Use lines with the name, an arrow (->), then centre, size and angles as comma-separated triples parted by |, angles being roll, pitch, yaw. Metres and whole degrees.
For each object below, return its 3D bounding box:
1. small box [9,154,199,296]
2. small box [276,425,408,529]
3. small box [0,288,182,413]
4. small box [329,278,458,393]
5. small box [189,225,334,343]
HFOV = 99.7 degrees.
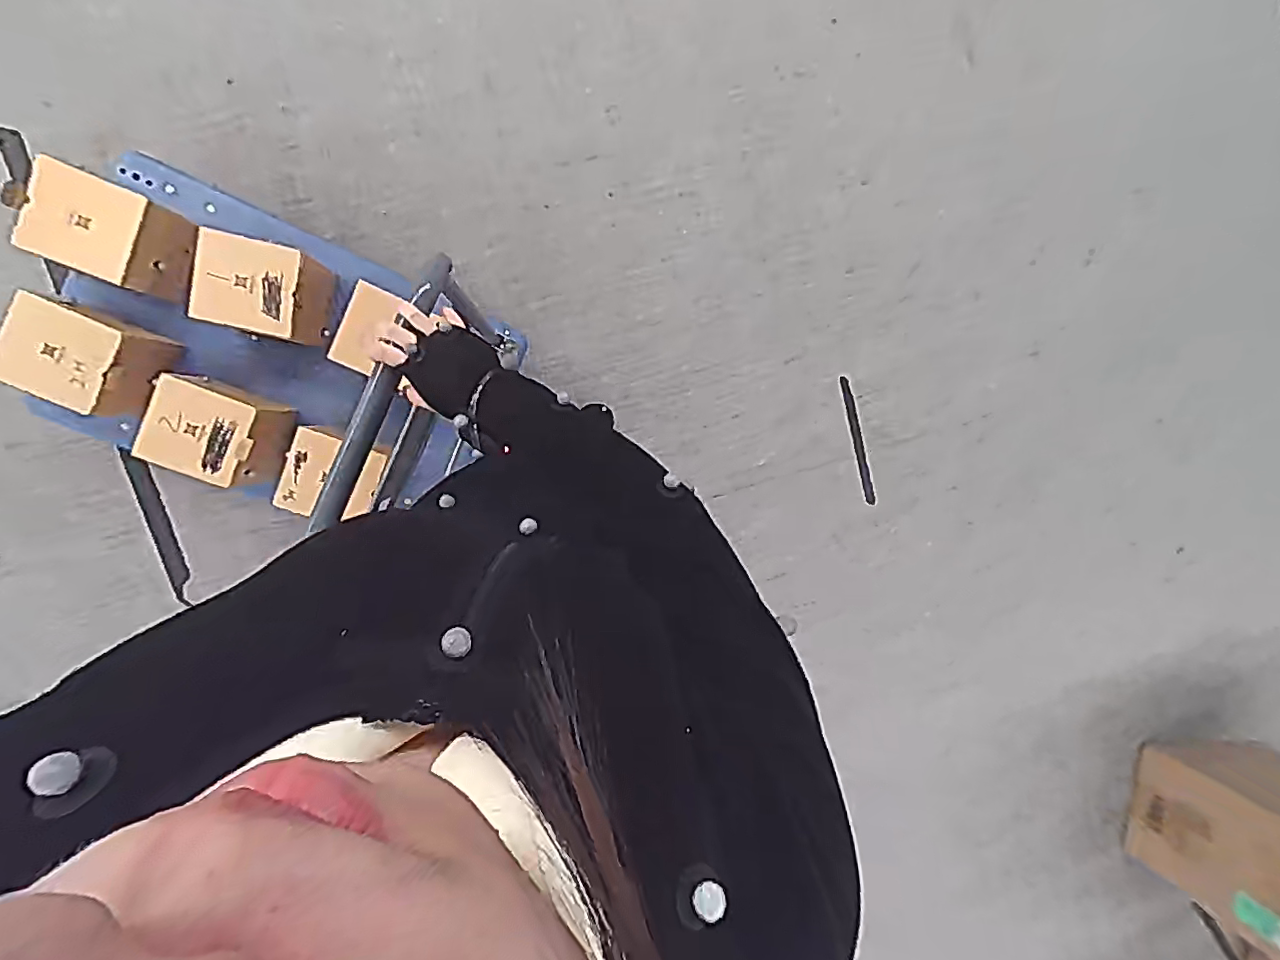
small box -> -0.989, -0.462, 1.017 | 0.179, 0.176, 0.168 | 20, 93, -12
small box -> -0.611, -0.014, 1.136 | 0.179, 0.176, 0.168 | 19, 92, -12
small box -> -1.047, -0.235, 1.033 | 0.179, 0.176, 0.168 | 24, 93, -13
small box -> -0.498, -0.289, 1.124 | 0.179, 0.176, 0.168 | 23, 92, -11
small box -> -0.736, -0.374, 1.071 | 0.179, 0.176, 0.168 | 11, 95, -10
